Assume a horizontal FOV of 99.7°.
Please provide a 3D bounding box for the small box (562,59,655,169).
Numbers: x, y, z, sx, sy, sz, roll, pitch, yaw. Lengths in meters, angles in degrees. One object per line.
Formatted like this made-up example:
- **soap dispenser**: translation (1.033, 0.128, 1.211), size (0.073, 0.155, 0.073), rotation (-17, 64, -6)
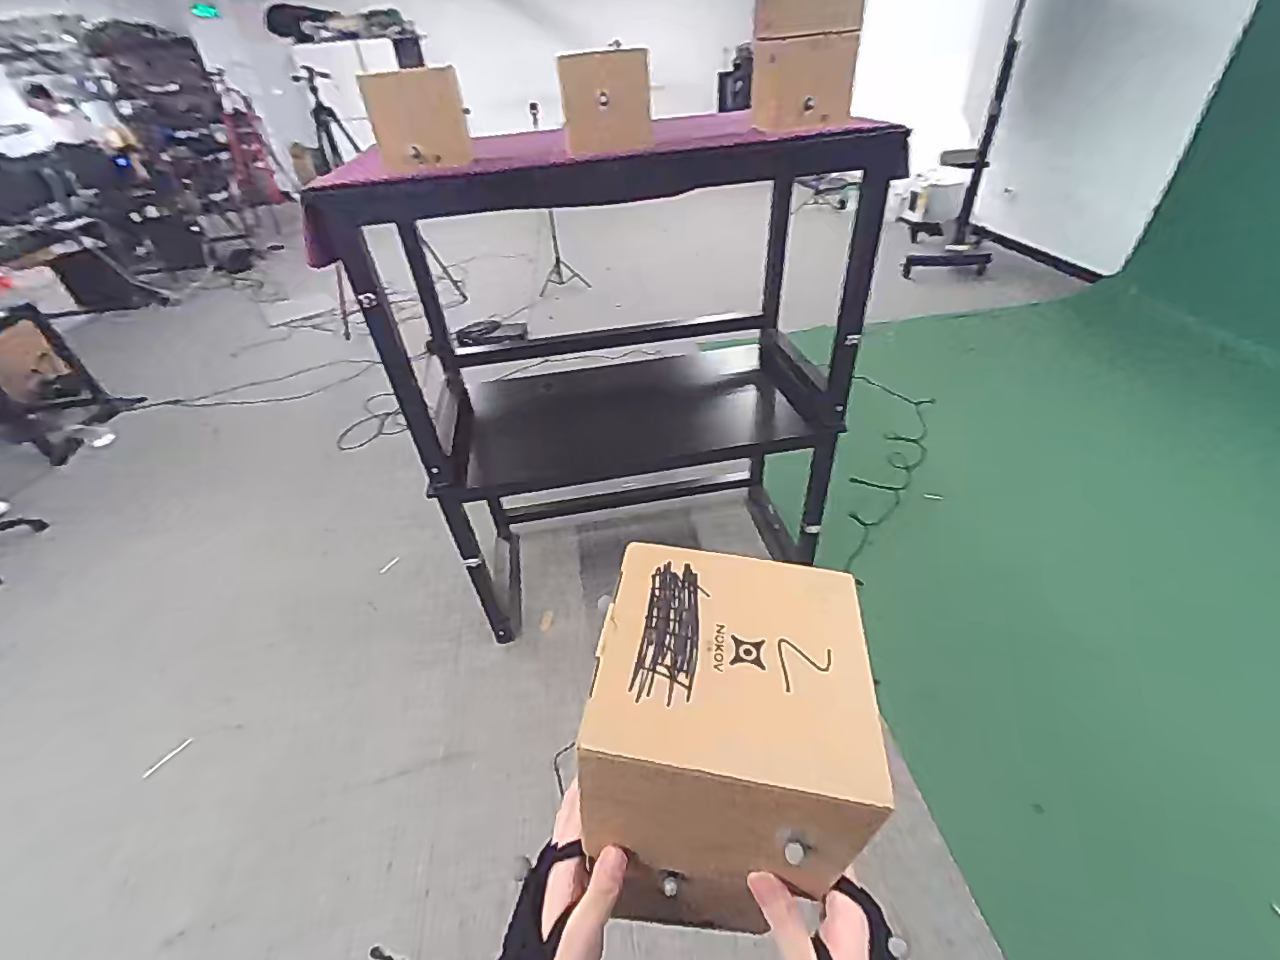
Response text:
- **small box**: translation (-0.064, -0.768, 1.133), size (0.179, 0.176, 0.168), rotation (-9, 37, -3)

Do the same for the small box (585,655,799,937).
- **small box**: translation (0.042, 0.298, 0.520), size (0.168, 0.176, 0.179), rotation (4, 38, 3)

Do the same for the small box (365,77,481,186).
- **small box**: translation (-0.425, -0.703, 1.093), size (0.168, 0.176, 0.179), rotation (-10, 38, -6)

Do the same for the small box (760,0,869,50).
- **small box**: translation (0.342, -0.961, 1.065), size (0.179, 0.176, 0.168), rotation (-9, 40, -4)

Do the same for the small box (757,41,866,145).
- **small box**: translation (0.359, -0.839, 1.176), size (0.168, 0.176, 0.179), rotation (-9, 40, -4)
